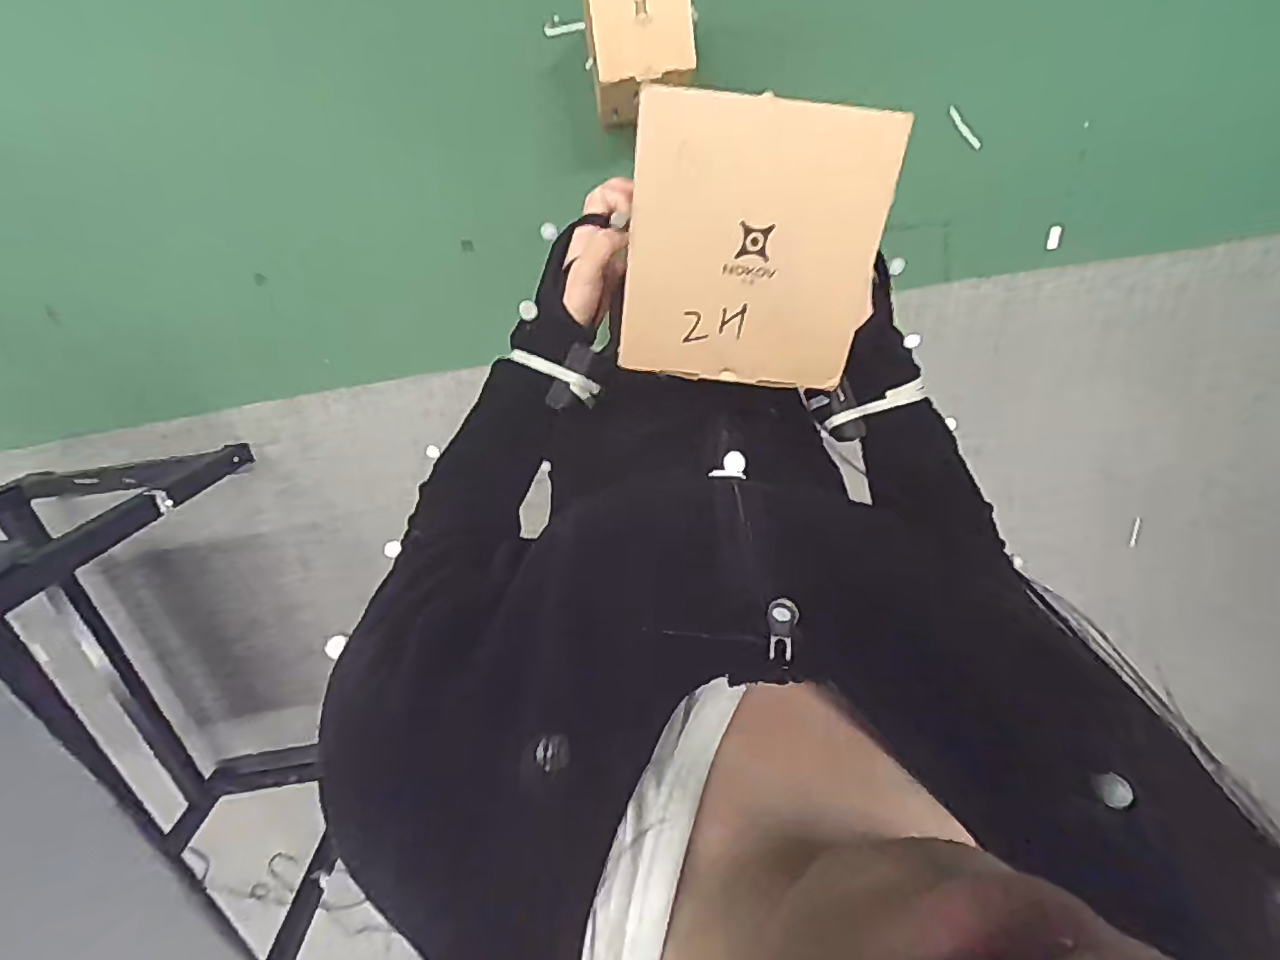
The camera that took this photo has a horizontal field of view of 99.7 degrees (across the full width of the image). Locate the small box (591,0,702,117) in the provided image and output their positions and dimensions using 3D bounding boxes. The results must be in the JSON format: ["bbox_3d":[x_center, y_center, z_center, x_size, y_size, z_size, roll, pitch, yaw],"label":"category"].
[{"bbox_3d":[0.007,-0.775,0.956,0.168,0.176,0.179,-10,113,1],"label":"small box"}]

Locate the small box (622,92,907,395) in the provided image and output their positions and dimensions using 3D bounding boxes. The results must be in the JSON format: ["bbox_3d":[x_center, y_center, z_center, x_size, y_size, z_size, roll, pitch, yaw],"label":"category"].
[{"bbox_3d":[0.079,-0.185,0.438,0.168,0.176,0.179,7,117,0],"label":"small box"}]
